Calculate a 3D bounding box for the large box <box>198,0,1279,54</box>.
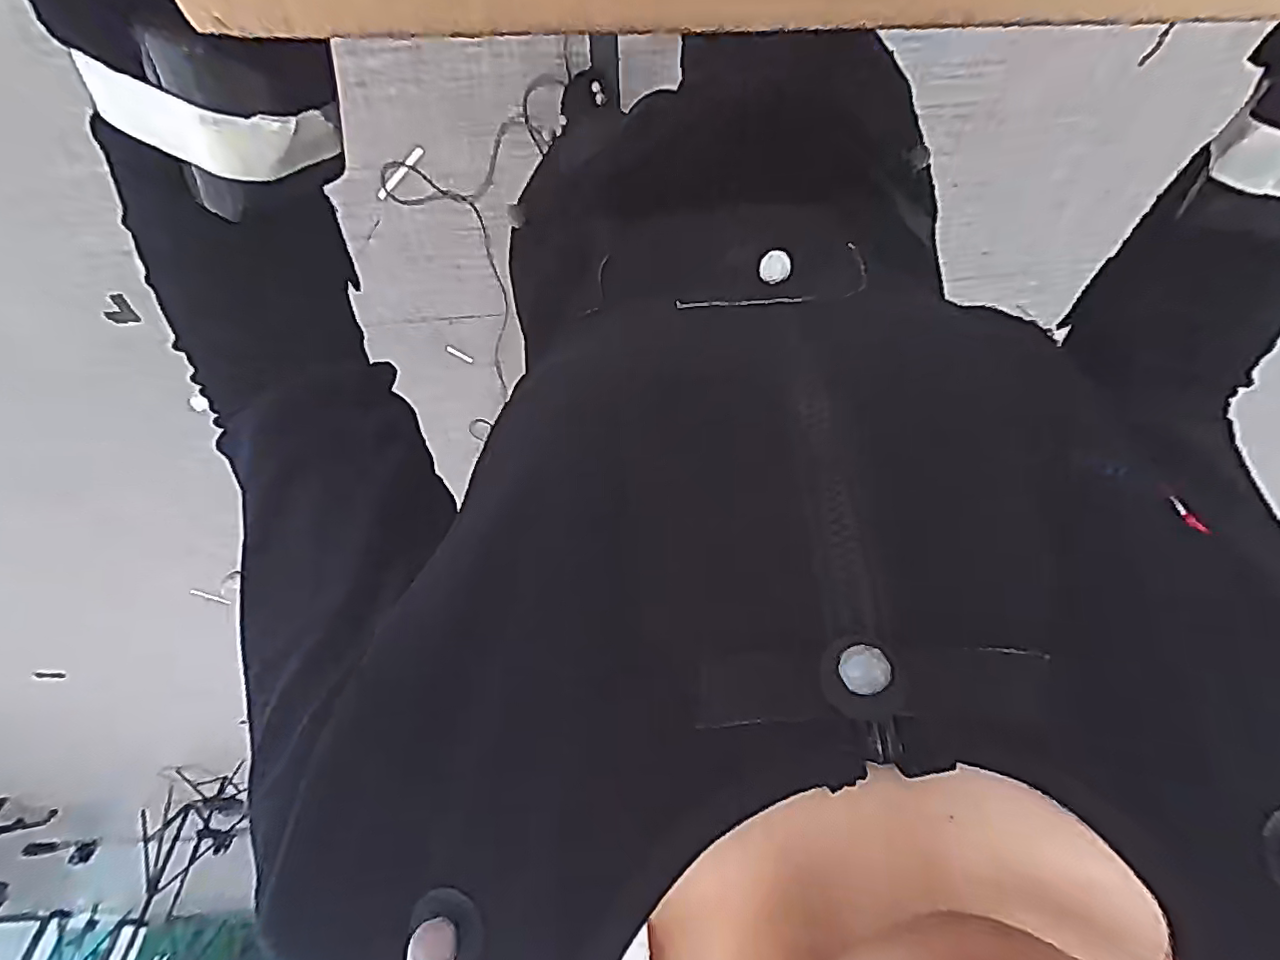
[{"bbox_3d":[0.055,-0.356,0.132,0.408,0.320,0.320,-4,146,-4],"label":"large box"}]
